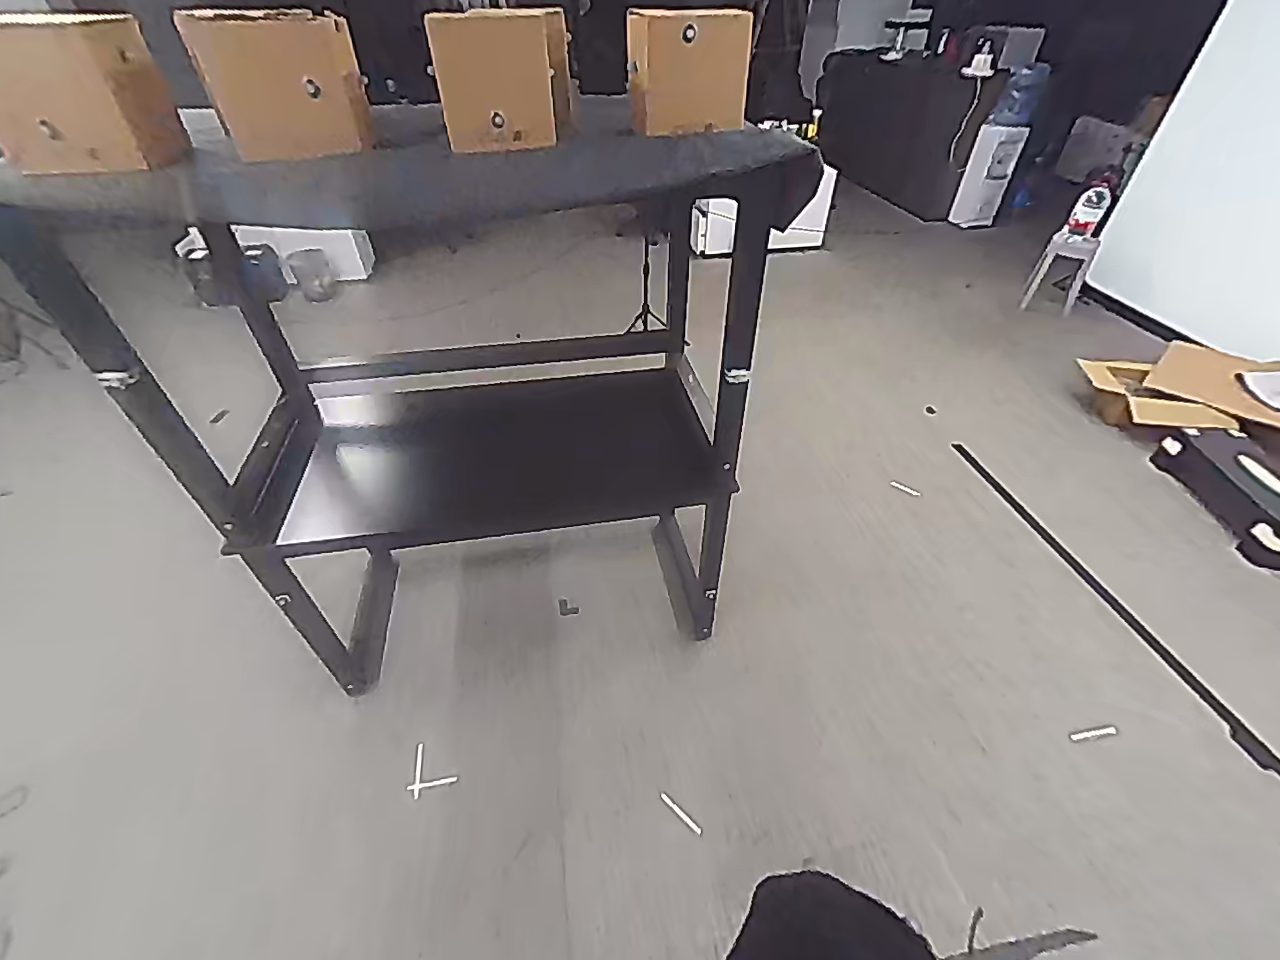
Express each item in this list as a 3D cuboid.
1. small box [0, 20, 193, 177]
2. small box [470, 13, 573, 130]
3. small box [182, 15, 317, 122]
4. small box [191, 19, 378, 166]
[{"bbox_3d":[-0.797,-0.549,0.779,0.168,0.176,0.179,-9,43,-10],"label":"small box"},{"bbox_3d":[-0.221,-0.786,1.040,0.168,0.176,0.179,-6,42,-6],"label":"small box"},{"bbox_3d":[-0.661,-0.729,0.981,0.168,0.176,0.179,-7,42,-7],"label":"small box"},{"bbox_3d":[-0.521,-0.593,0.829,0.179,0.176,0.168,-8,40,-11],"label":"small box"}]
